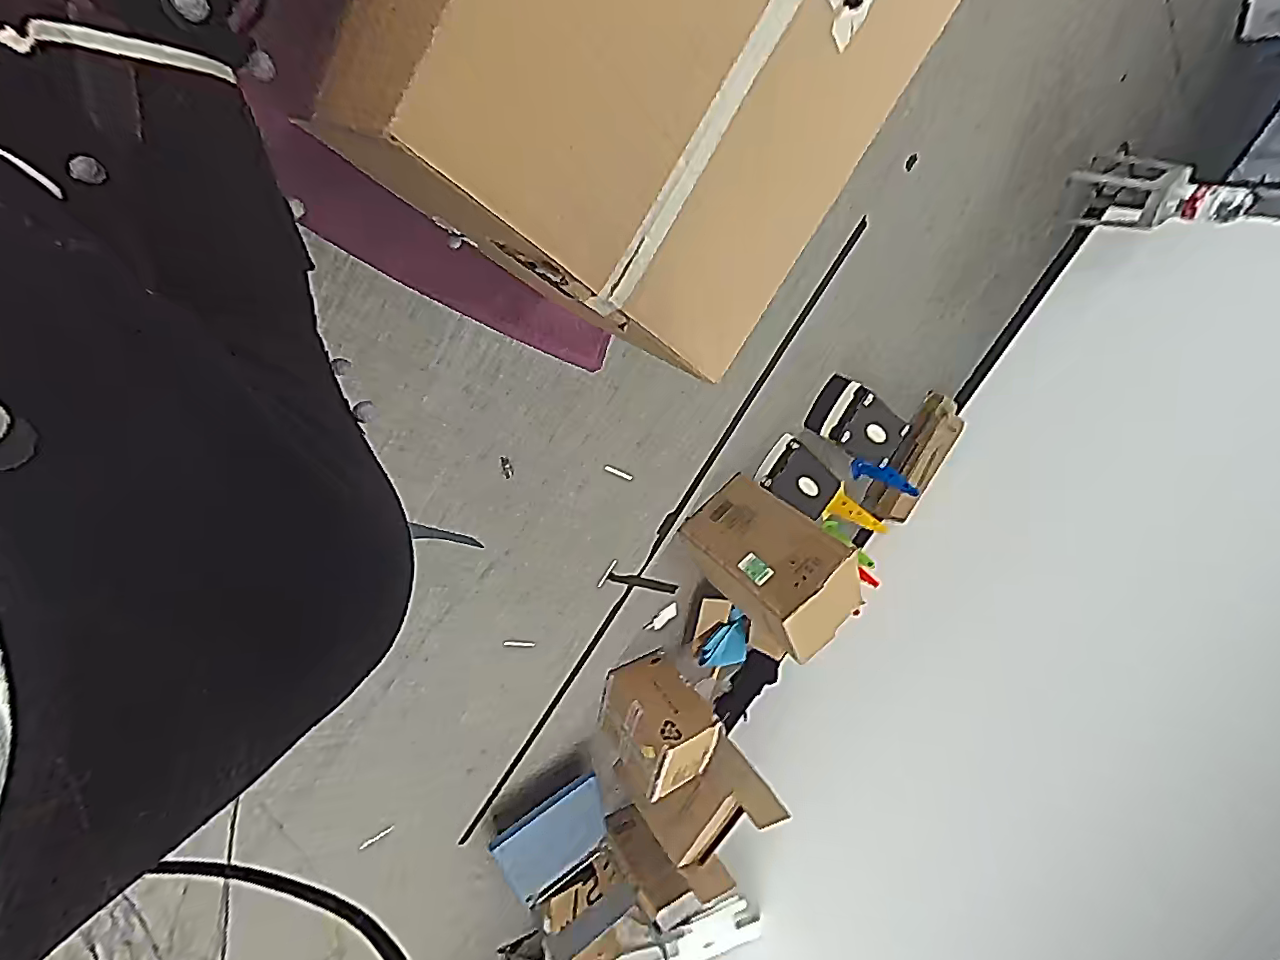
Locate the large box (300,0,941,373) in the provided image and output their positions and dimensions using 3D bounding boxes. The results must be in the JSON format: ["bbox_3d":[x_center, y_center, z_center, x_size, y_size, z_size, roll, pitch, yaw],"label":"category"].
[{"bbox_3d":[-0.015,-0.367,0.447,0.320,0.320,0.408,23,101,-49],"label":"large box"}]
